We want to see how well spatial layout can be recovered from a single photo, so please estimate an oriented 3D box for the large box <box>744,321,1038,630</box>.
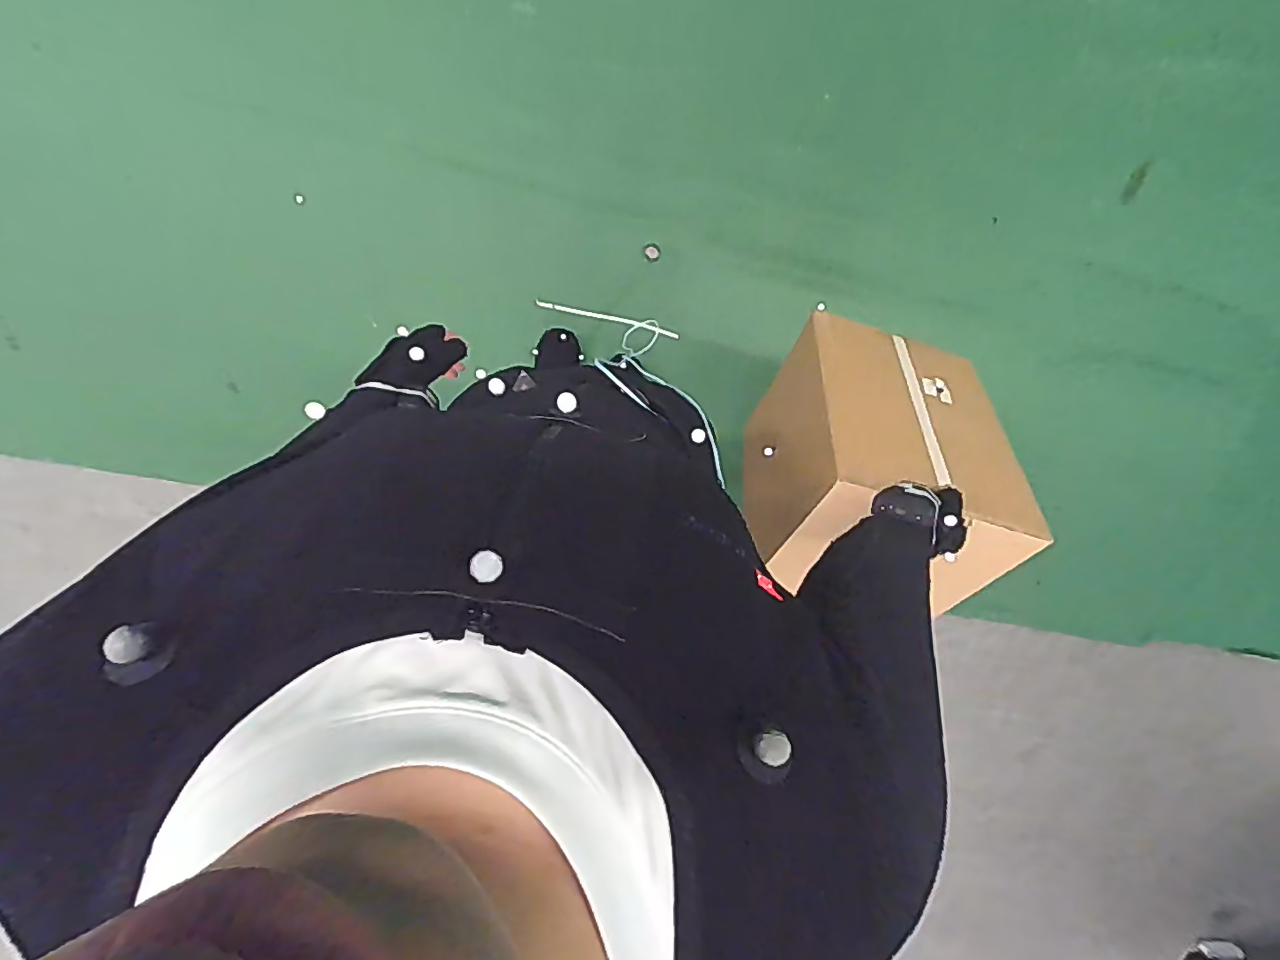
[{"bbox_3d":[0.383,-0.005,0.956,0.320,0.408,0.320,16,138,-7],"label":"large box"}]
